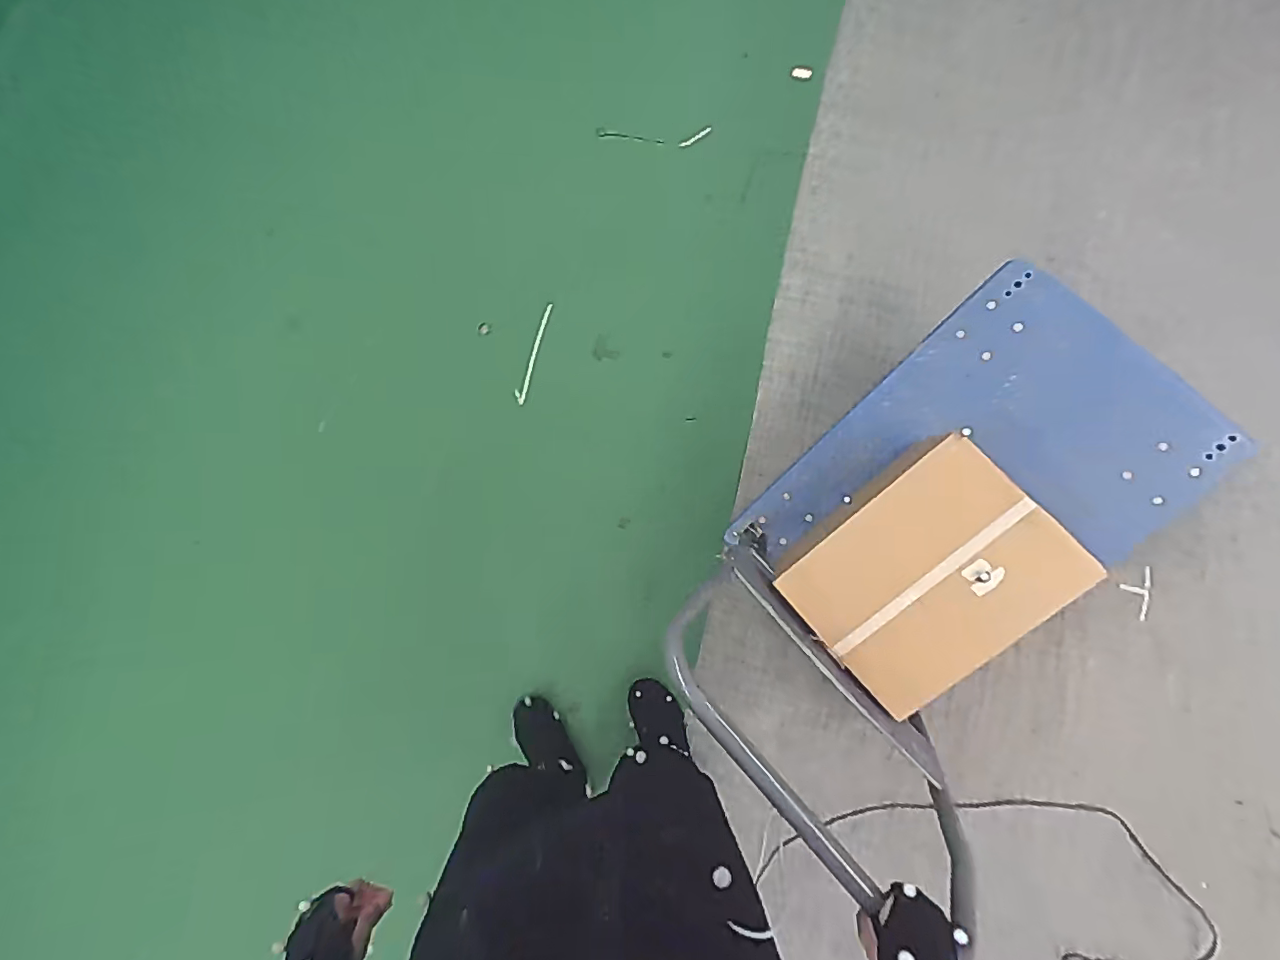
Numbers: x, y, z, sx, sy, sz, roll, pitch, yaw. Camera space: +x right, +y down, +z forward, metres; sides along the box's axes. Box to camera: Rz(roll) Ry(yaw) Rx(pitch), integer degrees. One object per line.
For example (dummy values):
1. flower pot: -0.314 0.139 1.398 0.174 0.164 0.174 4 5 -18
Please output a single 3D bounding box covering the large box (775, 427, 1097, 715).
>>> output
1. large box: 0.517 0.157 1.049 0.408 0.320 0.320 -44 80 12
